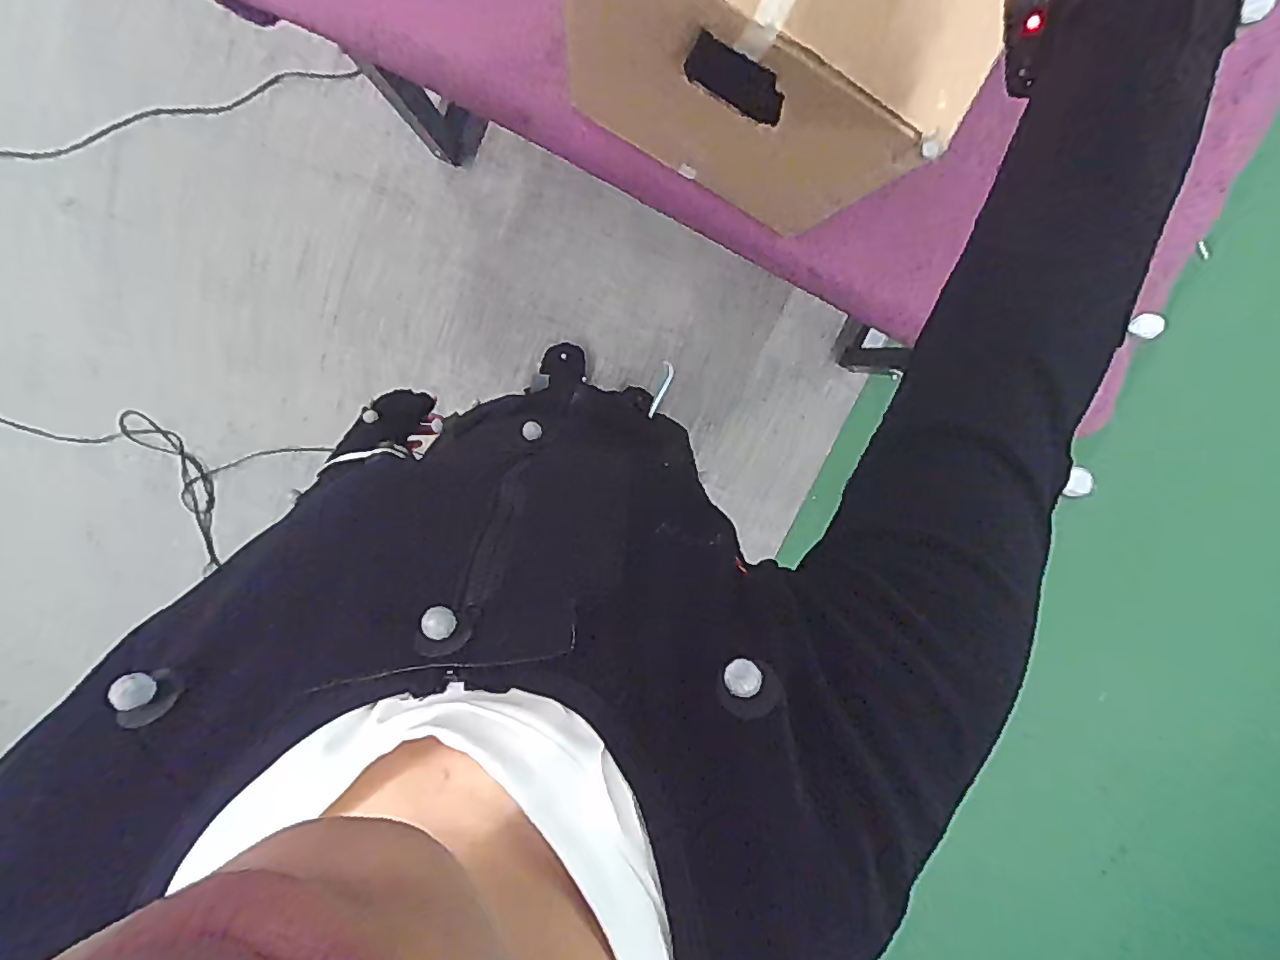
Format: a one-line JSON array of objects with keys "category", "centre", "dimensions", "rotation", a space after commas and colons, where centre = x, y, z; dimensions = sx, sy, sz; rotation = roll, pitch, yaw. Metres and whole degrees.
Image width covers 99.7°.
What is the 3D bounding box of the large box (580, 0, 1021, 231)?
[{"category": "large box", "centre": [0.165, -0.520, 0.499], "dimensions": [0.320, 0.320, 0.408], "rotation": [26, 100, -10]}]
